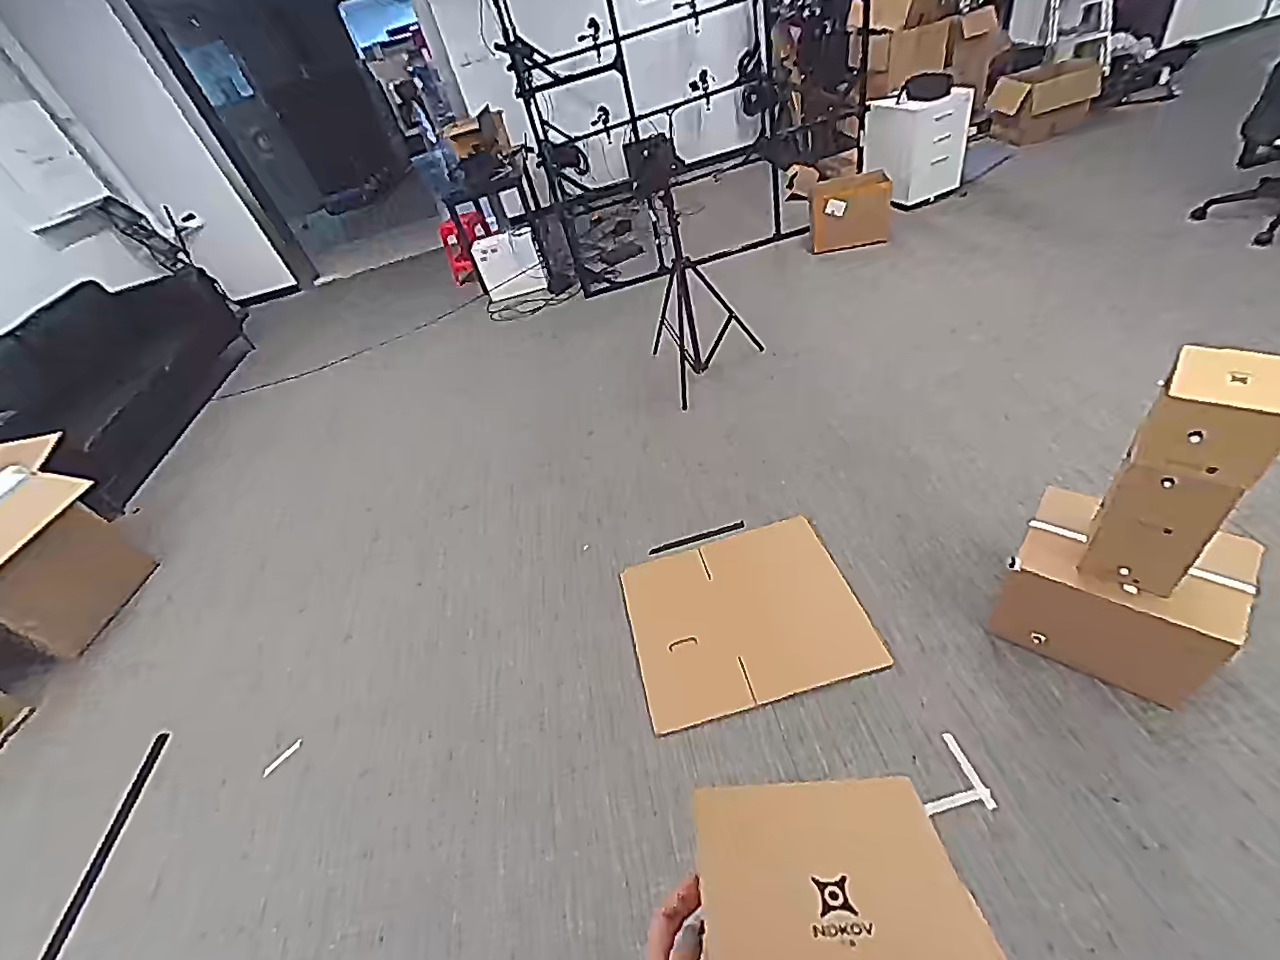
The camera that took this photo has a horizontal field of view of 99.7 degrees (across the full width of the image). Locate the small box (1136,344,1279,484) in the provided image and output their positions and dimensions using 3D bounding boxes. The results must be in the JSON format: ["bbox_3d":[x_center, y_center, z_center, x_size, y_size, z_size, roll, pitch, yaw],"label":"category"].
[{"bbox_3d":[1.037,-0.119,0.975,0.168,0.176,0.179,22,54,36],"label":"small box"}]

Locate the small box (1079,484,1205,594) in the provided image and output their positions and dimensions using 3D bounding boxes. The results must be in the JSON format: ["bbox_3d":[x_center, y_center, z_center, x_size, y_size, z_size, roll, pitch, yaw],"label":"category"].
[{"bbox_3d":[1.108,0.114,1.193,0.168,0.176,0.179,22,55,36],"label":"small box"}]

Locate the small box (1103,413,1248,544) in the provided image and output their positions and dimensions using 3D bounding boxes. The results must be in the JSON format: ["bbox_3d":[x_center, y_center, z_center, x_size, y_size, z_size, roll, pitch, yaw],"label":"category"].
[{"bbox_3d":[1.073,-0.005,1.086,0.168,0.176,0.179,22,54,36],"label":"small box"}]

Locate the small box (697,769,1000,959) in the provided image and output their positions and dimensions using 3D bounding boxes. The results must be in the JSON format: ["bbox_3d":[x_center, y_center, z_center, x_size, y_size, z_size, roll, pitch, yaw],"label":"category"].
[{"bbox_3d":[0.129,0.335,0.372,0.168,0.176,0.179,-6,25,3],"label":"small box"}]
